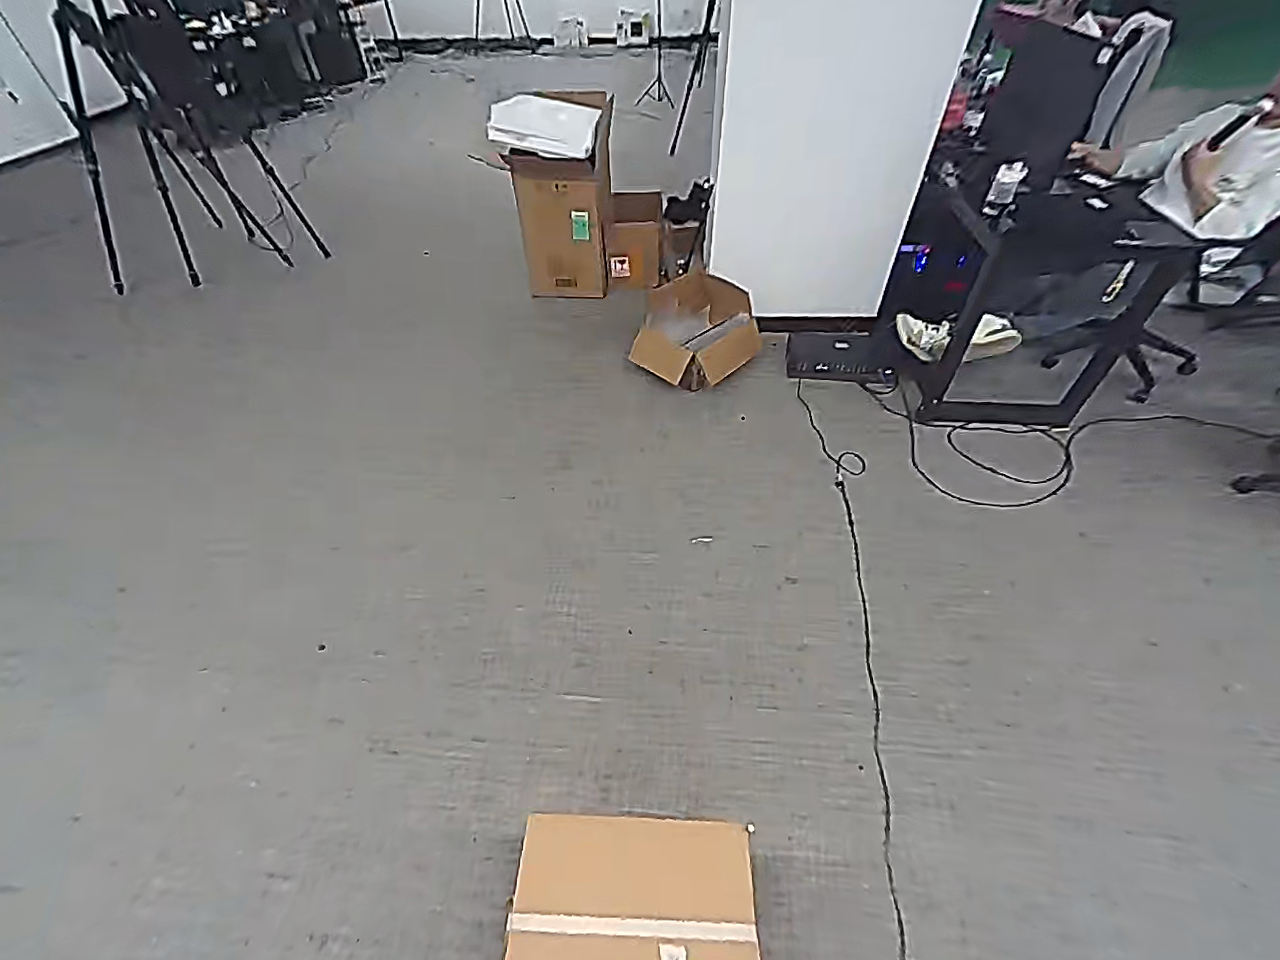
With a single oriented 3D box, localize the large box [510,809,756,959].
[{"bbox_3d":[-0.011,0.837,1.010,0.408,0.320,0.320,2,47,2],"label":"large box"}]
